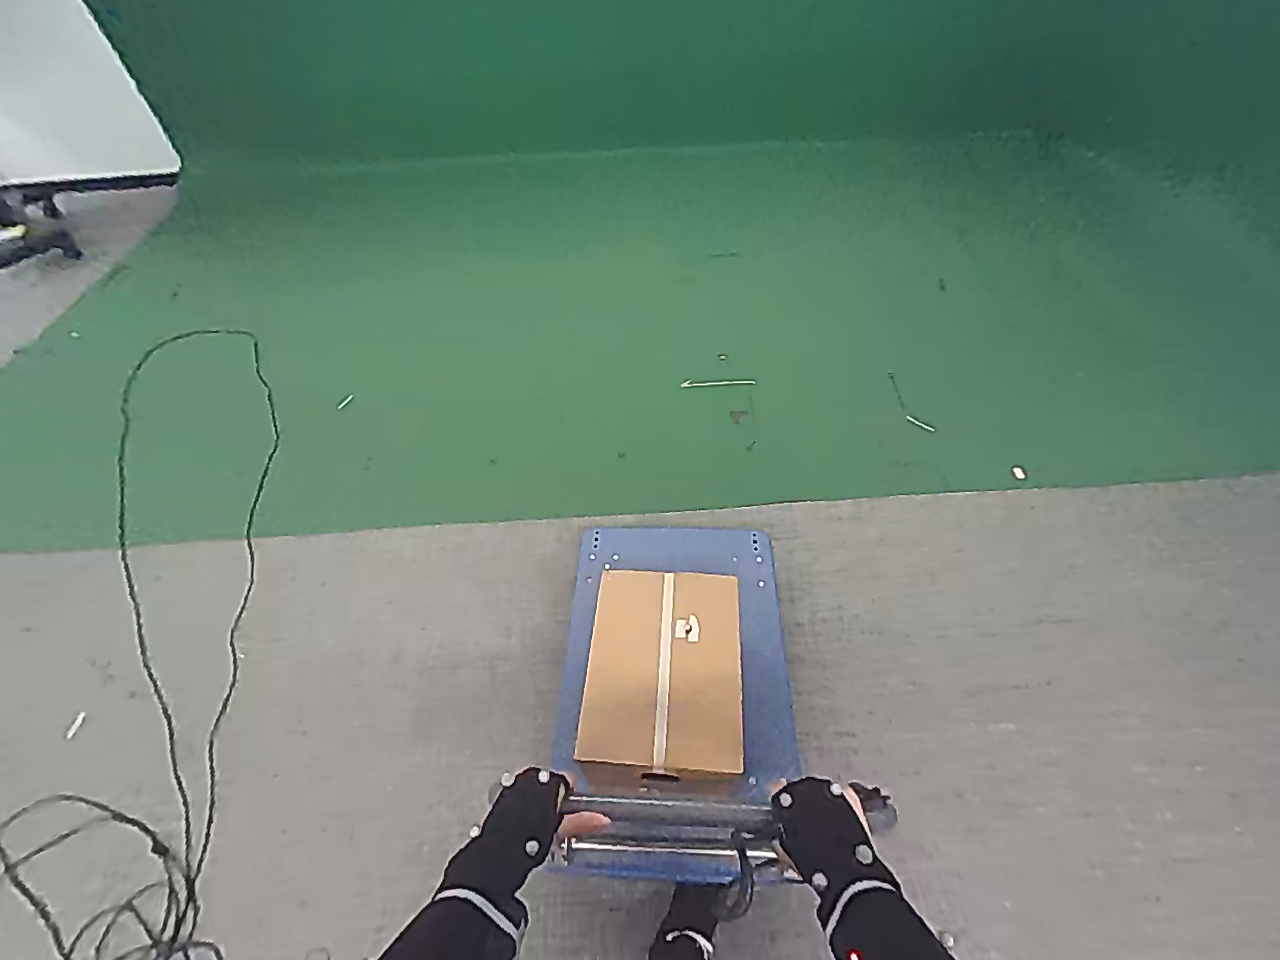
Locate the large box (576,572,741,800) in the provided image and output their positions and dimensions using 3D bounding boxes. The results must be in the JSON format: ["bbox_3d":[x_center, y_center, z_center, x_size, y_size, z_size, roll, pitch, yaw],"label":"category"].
[{"bbox_3d":[0.053,0.467,1.229,0.320,0.320,0.408,3,51,5],"label":"large box"}]
